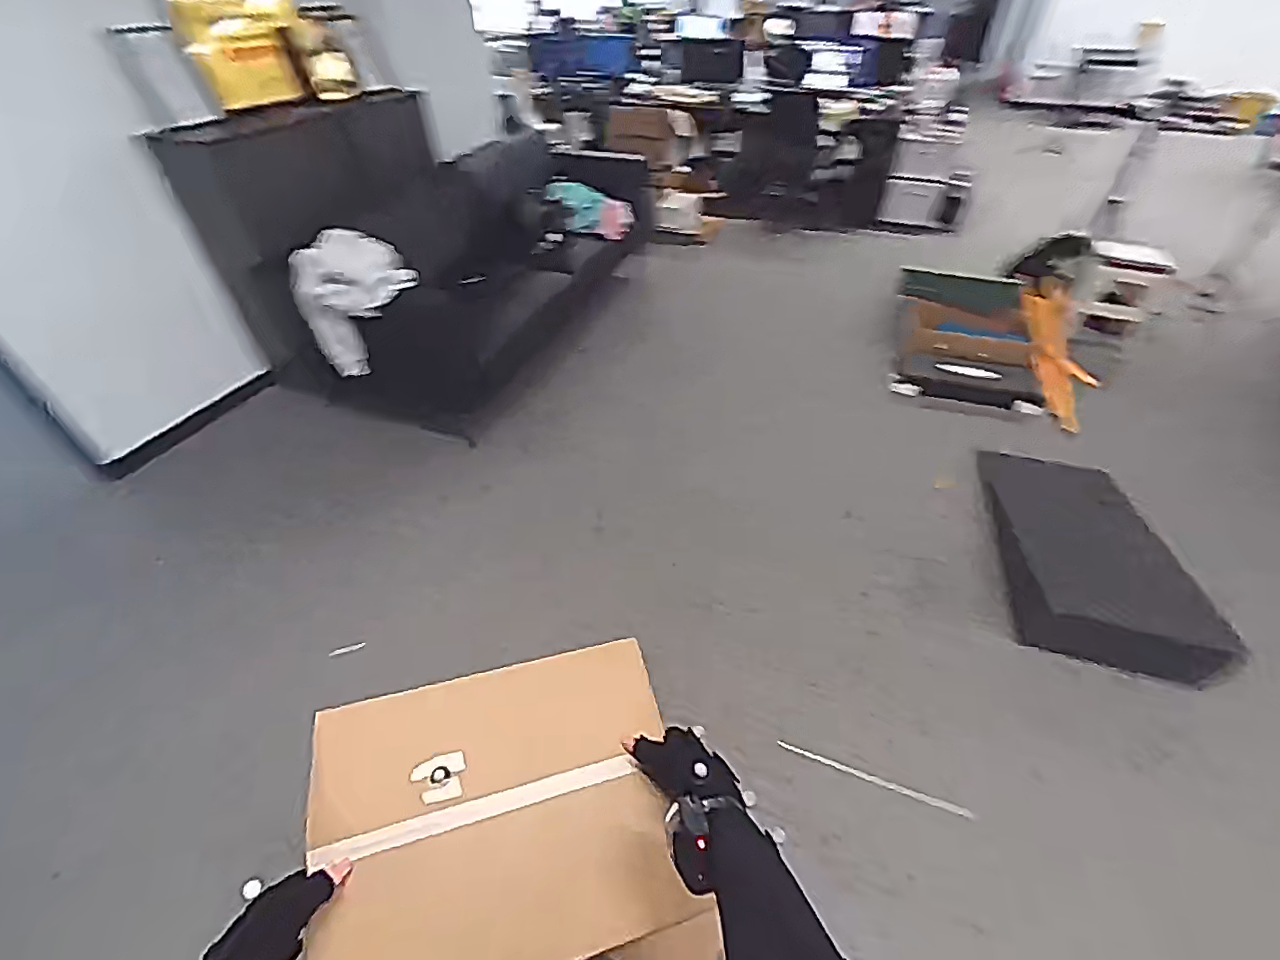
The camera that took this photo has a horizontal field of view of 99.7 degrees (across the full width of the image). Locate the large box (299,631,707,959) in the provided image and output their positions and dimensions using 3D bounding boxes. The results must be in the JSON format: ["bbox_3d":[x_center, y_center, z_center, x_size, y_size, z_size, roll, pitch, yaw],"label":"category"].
[{"bbox_3d":[-0.173,0.448,0.724,0.408,0.320,0.320,-11,54,-15],"label":"large box"}]
